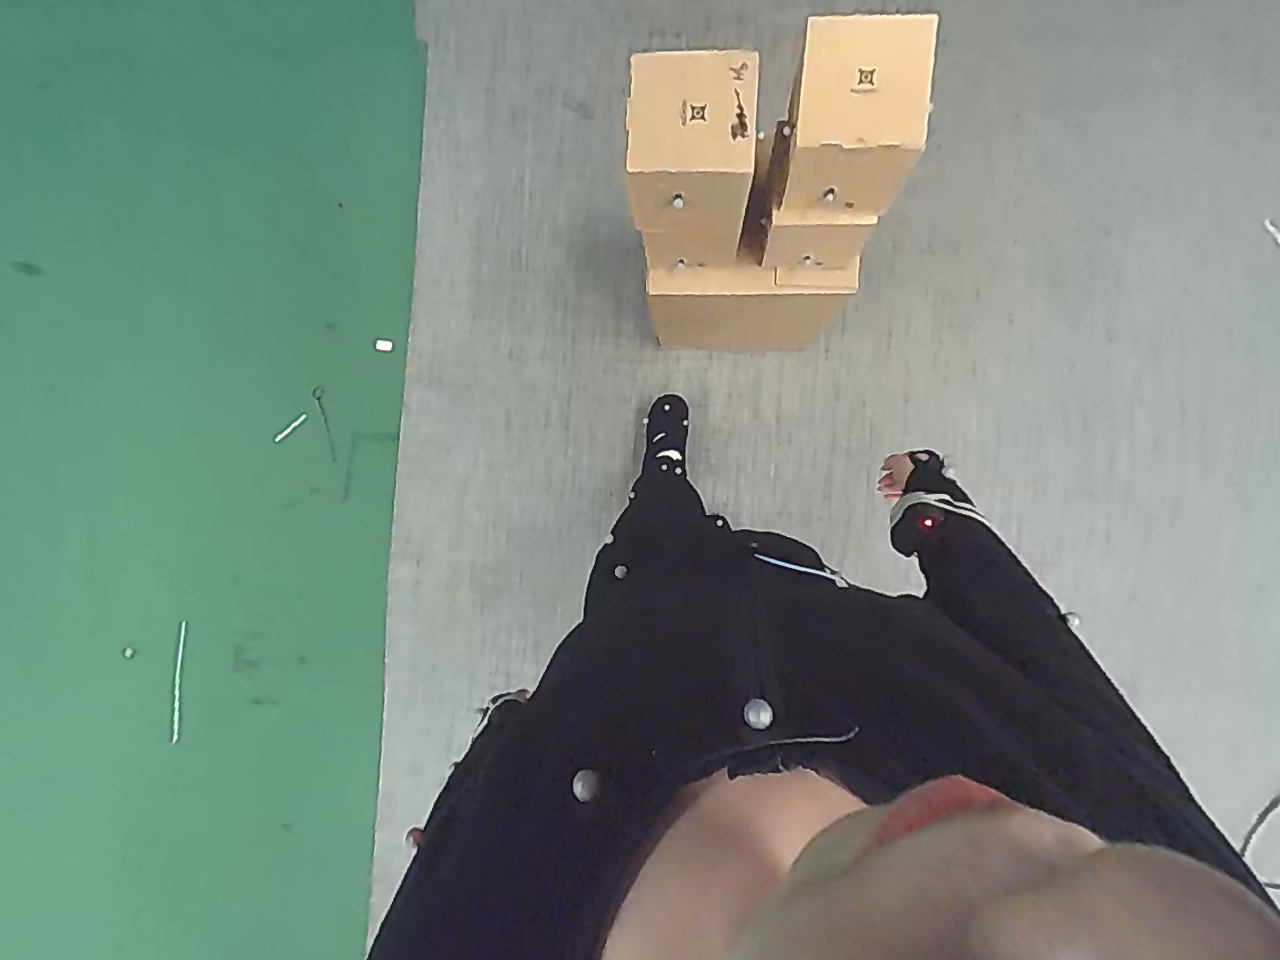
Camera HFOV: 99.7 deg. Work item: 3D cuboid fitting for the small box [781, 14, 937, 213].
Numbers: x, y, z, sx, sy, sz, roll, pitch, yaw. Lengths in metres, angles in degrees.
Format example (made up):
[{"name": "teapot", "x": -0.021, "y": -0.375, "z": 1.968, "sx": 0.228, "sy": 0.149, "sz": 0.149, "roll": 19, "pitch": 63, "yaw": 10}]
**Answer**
[{"name": "small box", "x": 0.306, "y": -0.524, "z": 0.790, "sx": 0.168, "sy": 0.176, "sz": 0.179, "roll": 6, "pitch": 89, "yaw": 7}]
